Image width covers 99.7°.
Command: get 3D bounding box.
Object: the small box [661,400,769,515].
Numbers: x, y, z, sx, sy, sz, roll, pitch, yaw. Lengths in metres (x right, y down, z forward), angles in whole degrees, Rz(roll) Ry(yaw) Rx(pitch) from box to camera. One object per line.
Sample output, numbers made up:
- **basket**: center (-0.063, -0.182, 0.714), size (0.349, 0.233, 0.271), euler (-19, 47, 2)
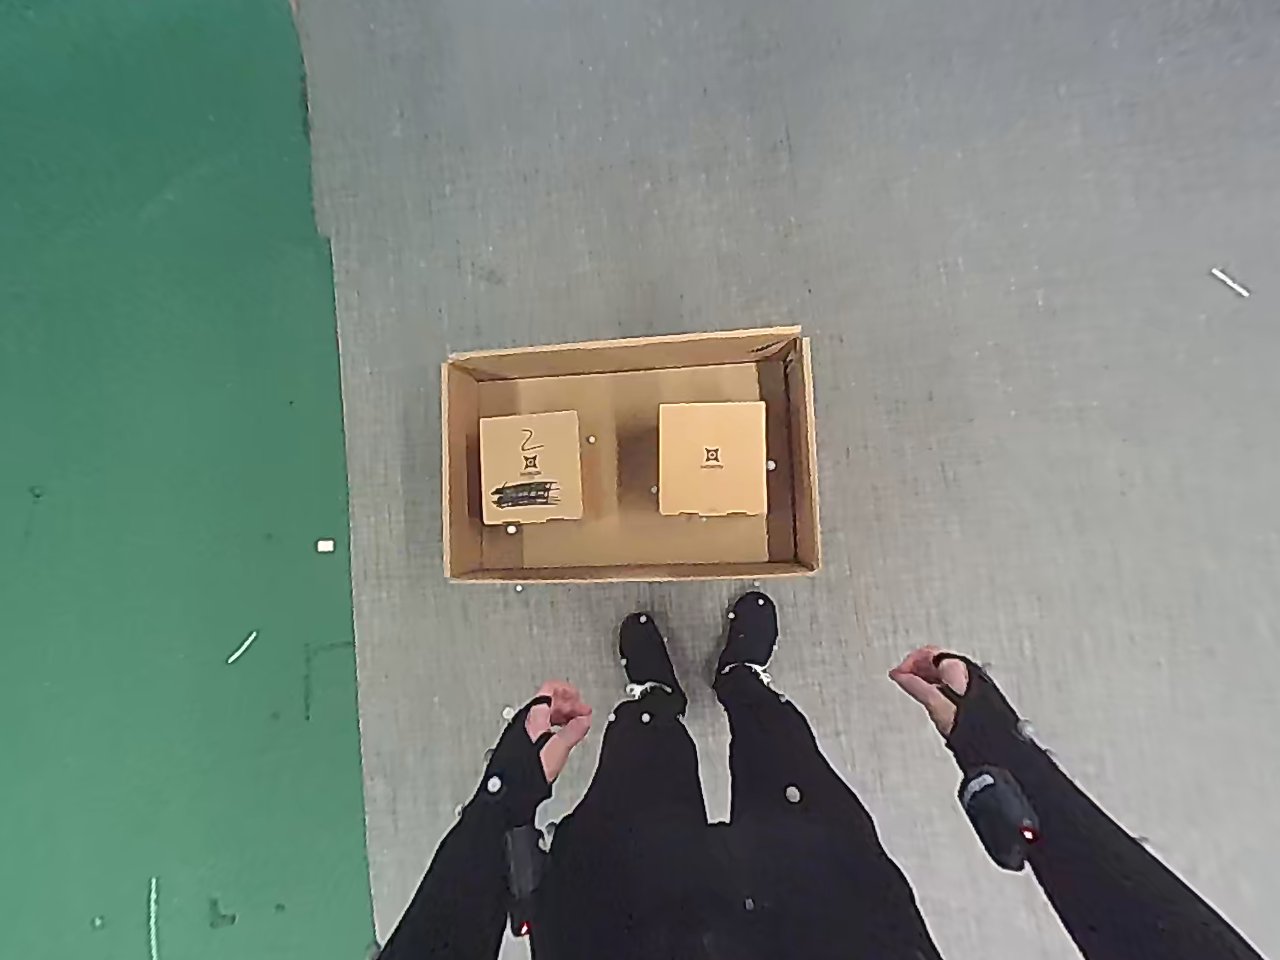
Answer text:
- **small box**: center (0.122, -0.031, 0.910), size (0.168, 0.176, 0.179), euler (0, 87, 6)
